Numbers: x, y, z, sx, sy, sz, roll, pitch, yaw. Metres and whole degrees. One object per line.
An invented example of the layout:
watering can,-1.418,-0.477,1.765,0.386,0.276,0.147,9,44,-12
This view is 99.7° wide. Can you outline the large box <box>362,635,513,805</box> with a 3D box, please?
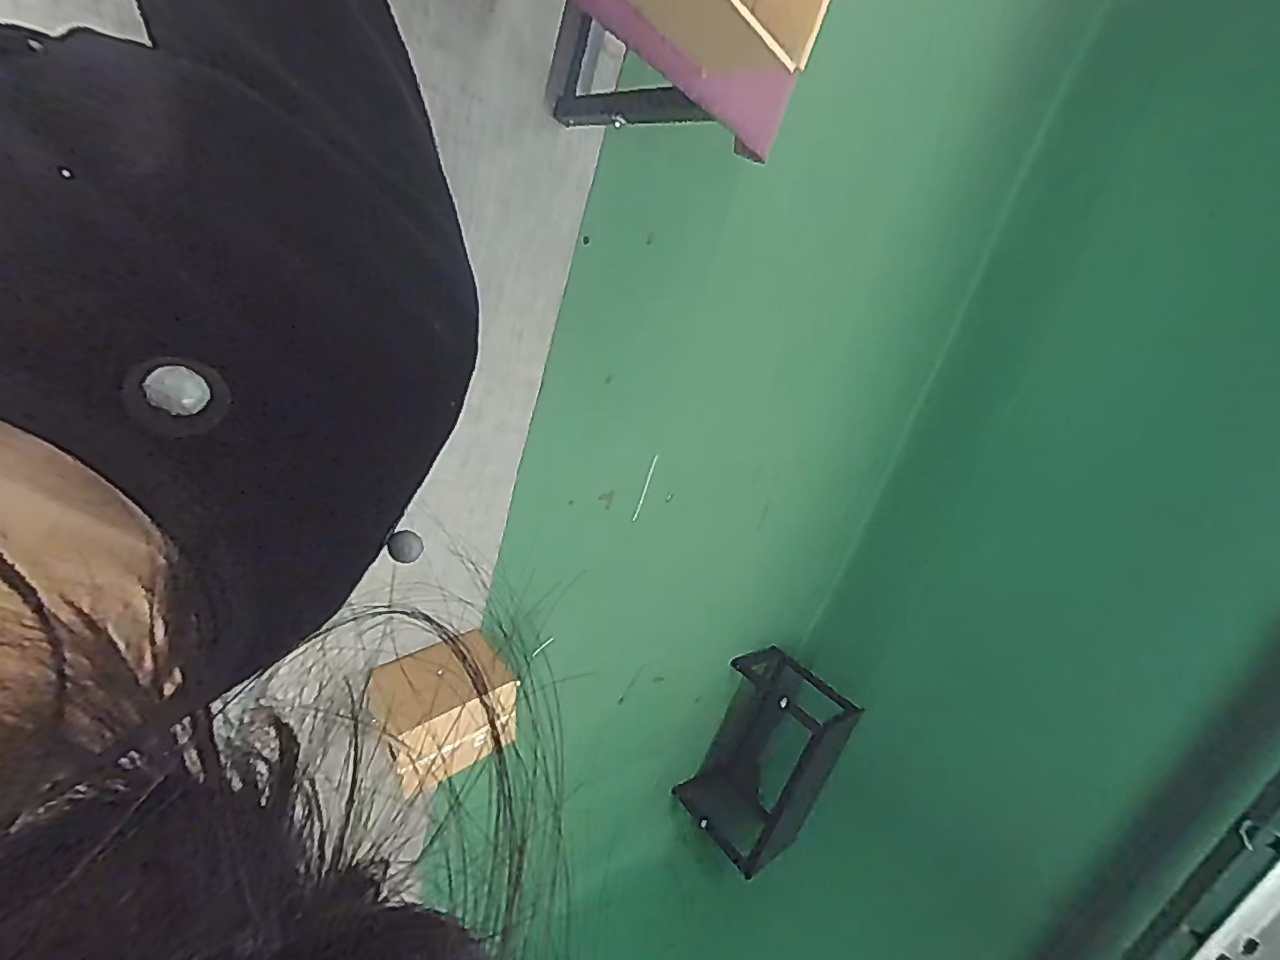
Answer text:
large box,-0.701,0.816,1.896,0.408,0.320,0.320,-16,125,-39
